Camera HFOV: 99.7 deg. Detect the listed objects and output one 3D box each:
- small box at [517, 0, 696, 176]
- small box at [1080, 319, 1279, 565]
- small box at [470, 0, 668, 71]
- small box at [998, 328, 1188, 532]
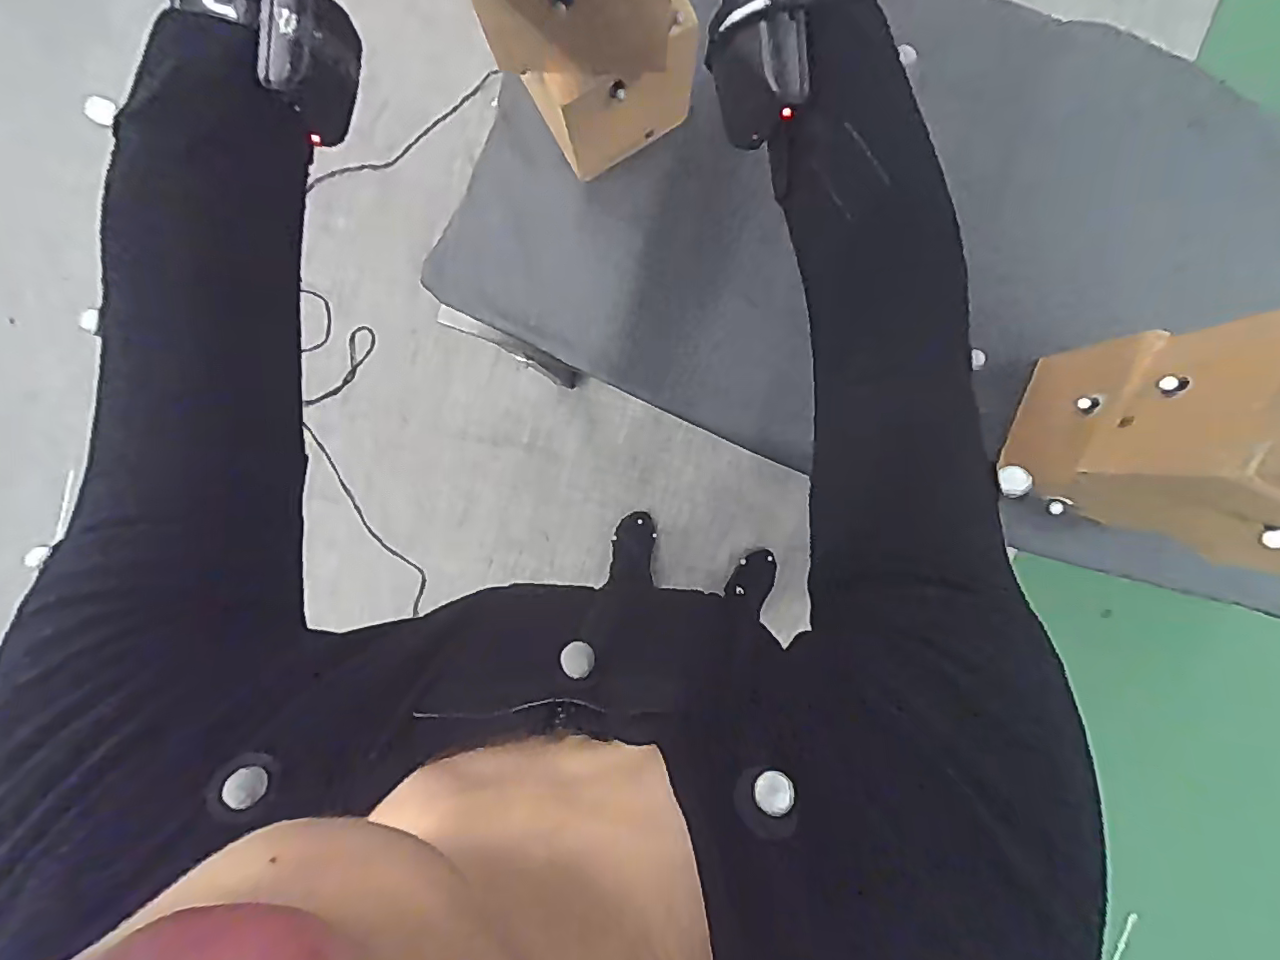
[{"bbox_3d":[-0.053,-0.503,0.626,0.168,0.176,0.179,-30,92,3],"label":"small box"},{"bbox_3d":[0.557,-0.030,0.469,0.179,0.176,0.168,31,92,1],"label":"small box"},{"bbox_3d":[-0.060,-0.489,0.462,0.179,0.176,0.168,1,94,2],"label":"small box"},{"bbox_3d":[0.566,-0.050,0.631,0.168,0.176,0.179,20,93,1],"label":"small box"}]
